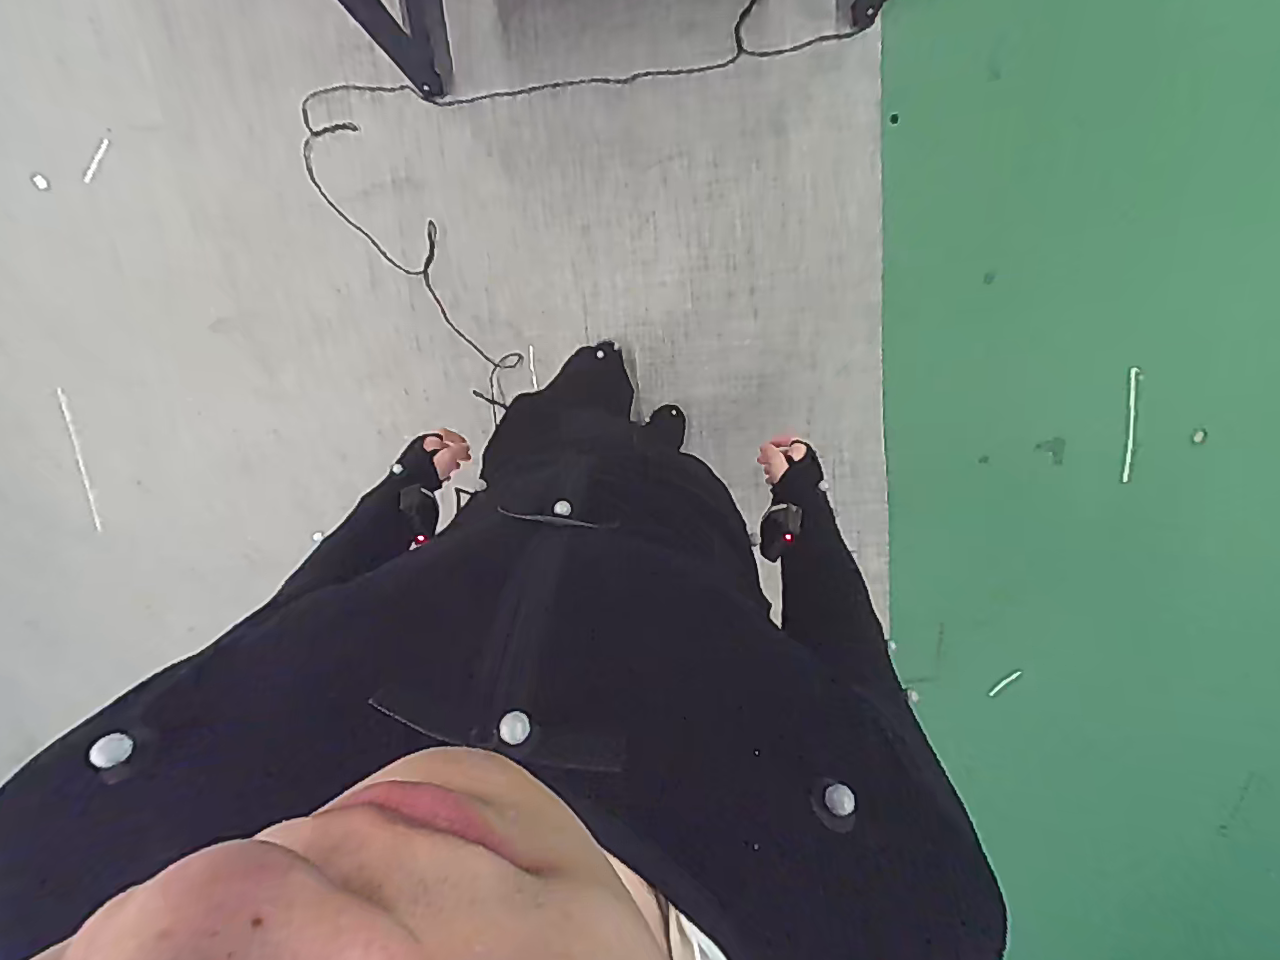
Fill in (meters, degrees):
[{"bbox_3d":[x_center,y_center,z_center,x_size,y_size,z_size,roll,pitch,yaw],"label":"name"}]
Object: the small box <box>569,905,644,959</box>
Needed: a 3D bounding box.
[{"bbox_3d":[-0.080,1.191,1.329,0.179,0.176,0.168,1,100,4],"label":"small box"}]
